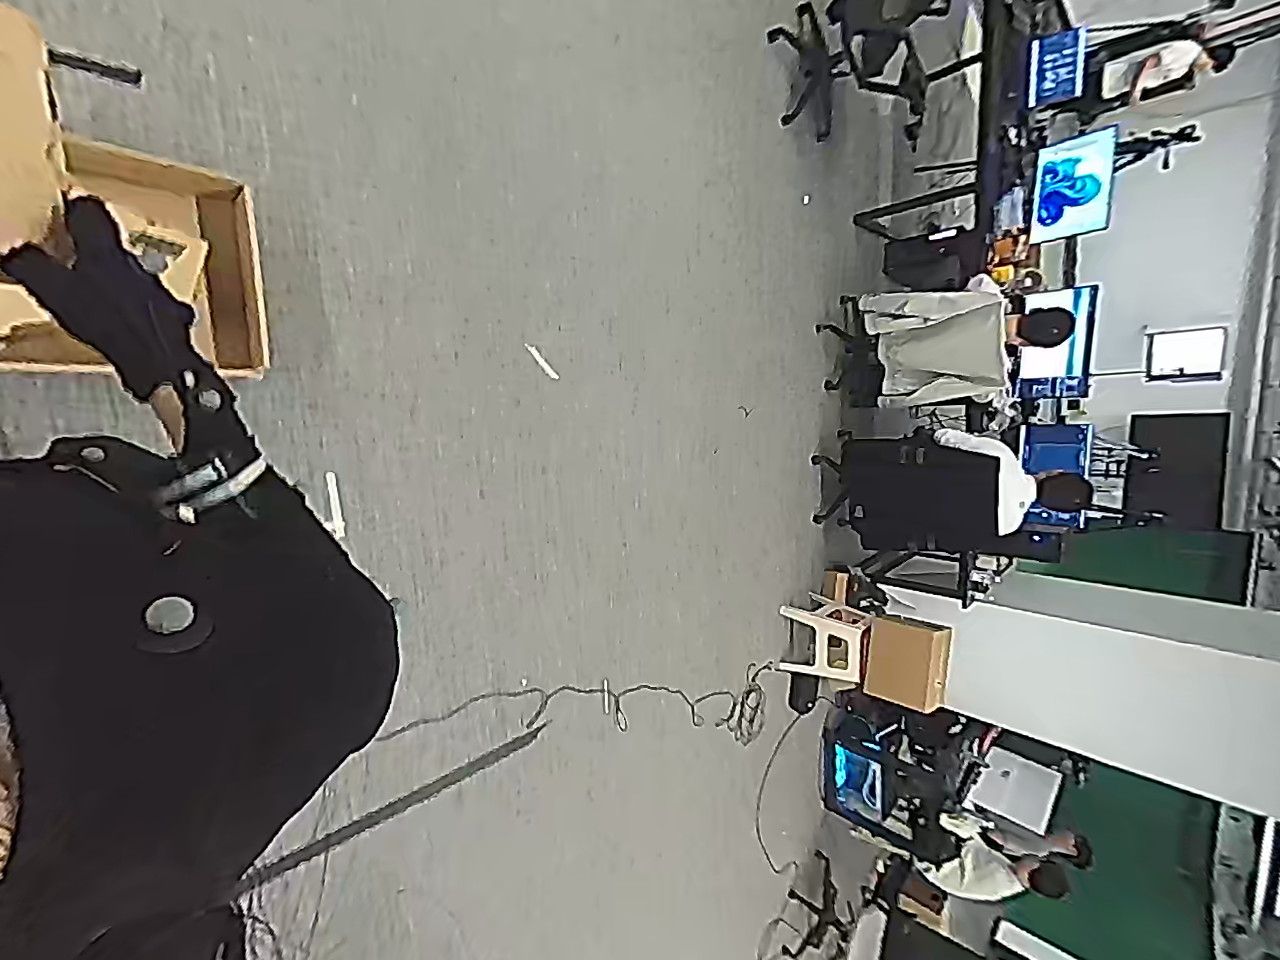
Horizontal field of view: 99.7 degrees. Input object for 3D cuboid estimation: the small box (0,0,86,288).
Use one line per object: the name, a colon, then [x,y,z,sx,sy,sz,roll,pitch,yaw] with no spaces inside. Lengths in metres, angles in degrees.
small box: [-0.488,-0.214,0.323,0.179,0.176,0.168,-16,113,-56]
